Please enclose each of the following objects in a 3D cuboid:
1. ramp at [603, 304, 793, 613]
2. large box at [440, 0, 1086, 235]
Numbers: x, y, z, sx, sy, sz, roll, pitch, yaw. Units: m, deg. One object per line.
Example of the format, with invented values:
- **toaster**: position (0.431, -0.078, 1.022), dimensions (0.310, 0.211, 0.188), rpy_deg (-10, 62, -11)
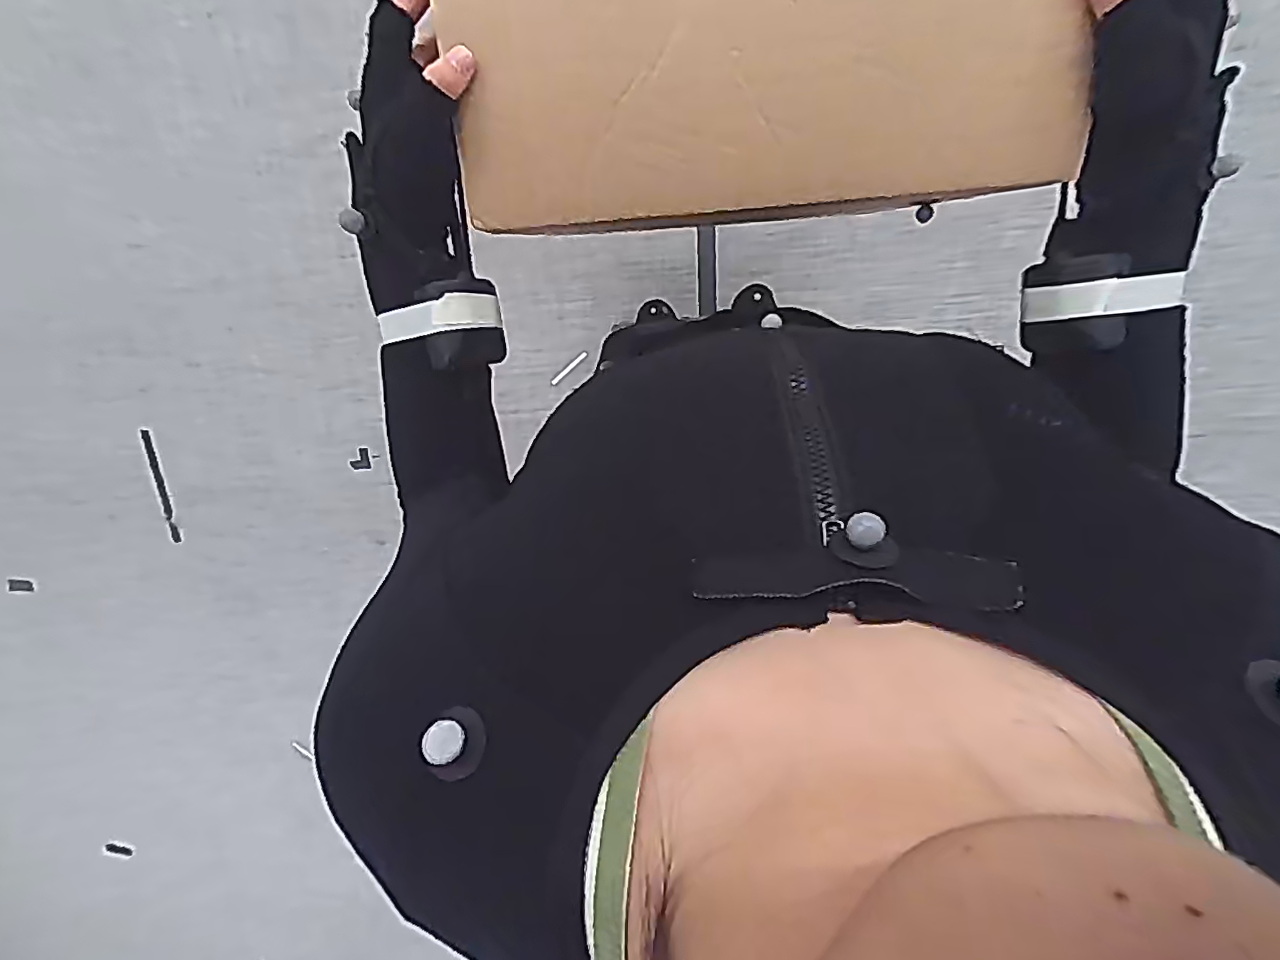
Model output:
- **ramp**: position (0.185, 0.003, 1.609), dimensions (0.509, 0.206, 0.991), rpy_deg (-4, 108, 4)
- **large box**: position (0.076, -0.391, 0.452), dimensions (0.408, 0.320, 0.320), rpy_deg (-3, 113, 3)
